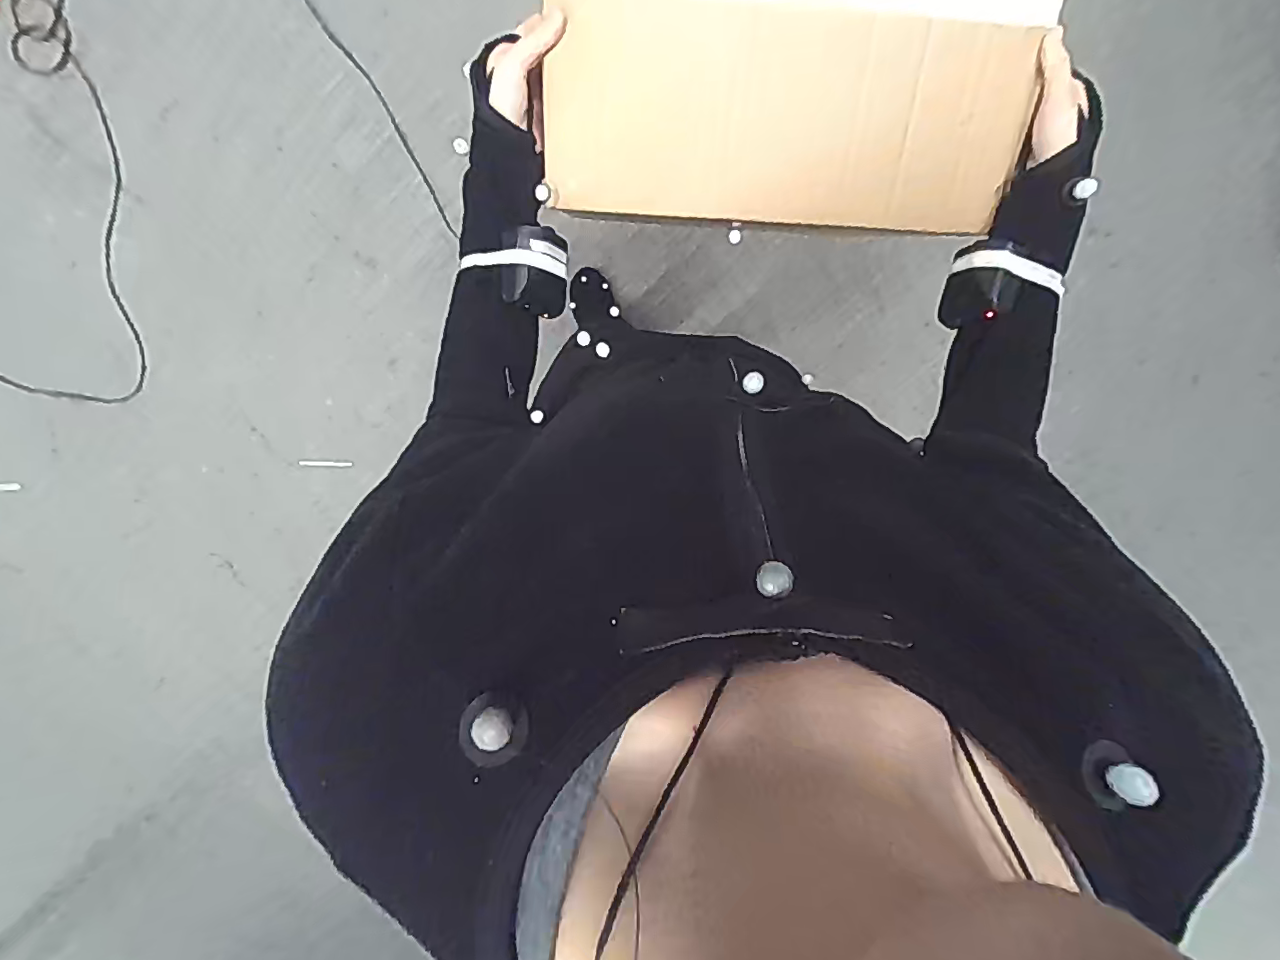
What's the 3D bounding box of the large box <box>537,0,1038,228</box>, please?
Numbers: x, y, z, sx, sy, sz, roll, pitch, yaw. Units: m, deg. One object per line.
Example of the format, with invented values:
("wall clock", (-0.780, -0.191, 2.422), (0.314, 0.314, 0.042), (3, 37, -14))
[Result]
("large box", (0.115, -0.435, 0.561), (0.408, 0.320, 0.320), (1, 113, -2))
